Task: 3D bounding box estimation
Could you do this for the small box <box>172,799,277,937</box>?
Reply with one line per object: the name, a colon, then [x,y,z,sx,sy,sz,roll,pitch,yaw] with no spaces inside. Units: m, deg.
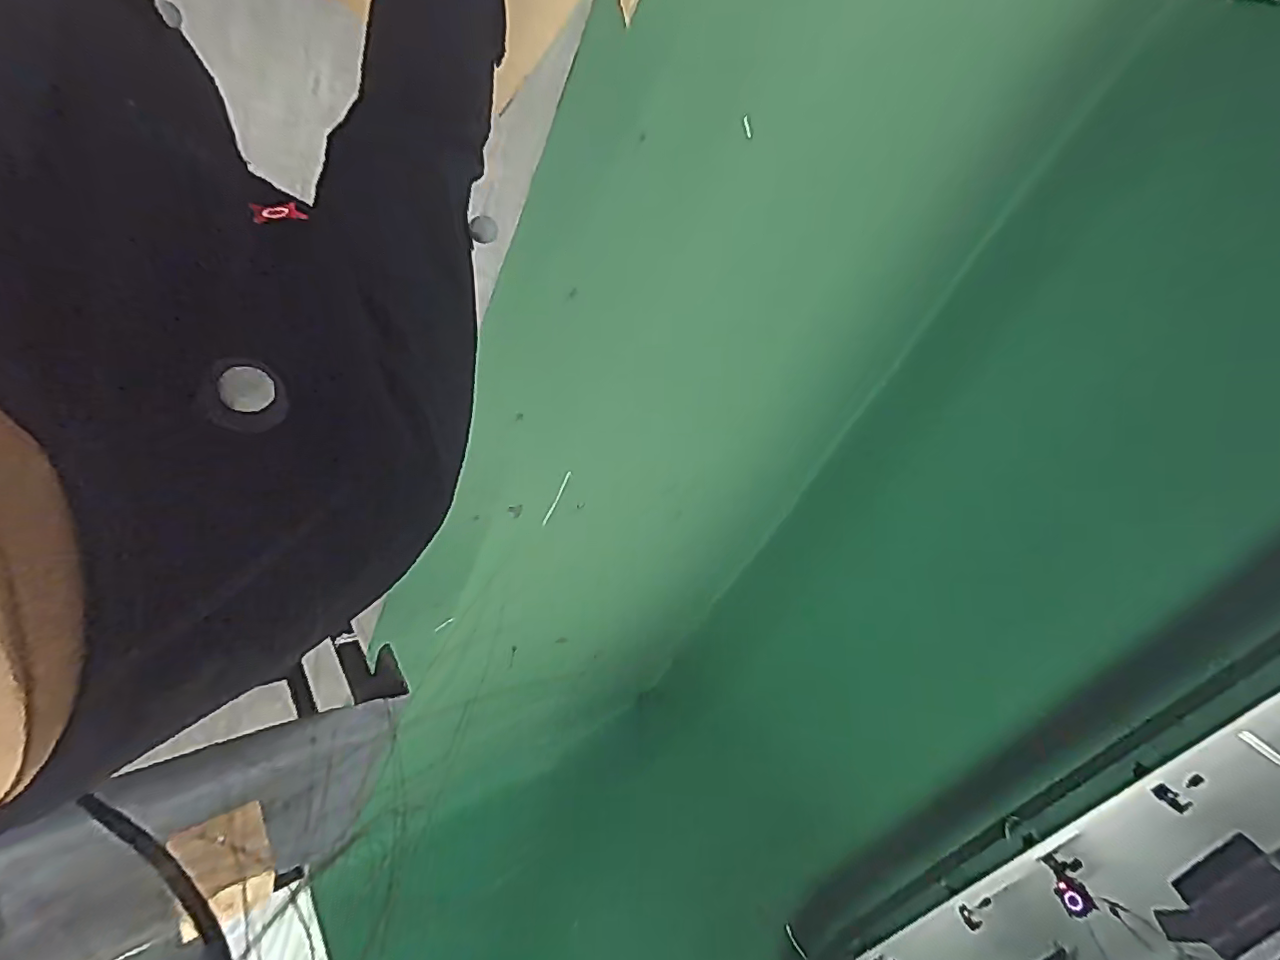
small box: [-0.948,0.874,1.232,0.168,0.176,0.179,-9,135,-45]
